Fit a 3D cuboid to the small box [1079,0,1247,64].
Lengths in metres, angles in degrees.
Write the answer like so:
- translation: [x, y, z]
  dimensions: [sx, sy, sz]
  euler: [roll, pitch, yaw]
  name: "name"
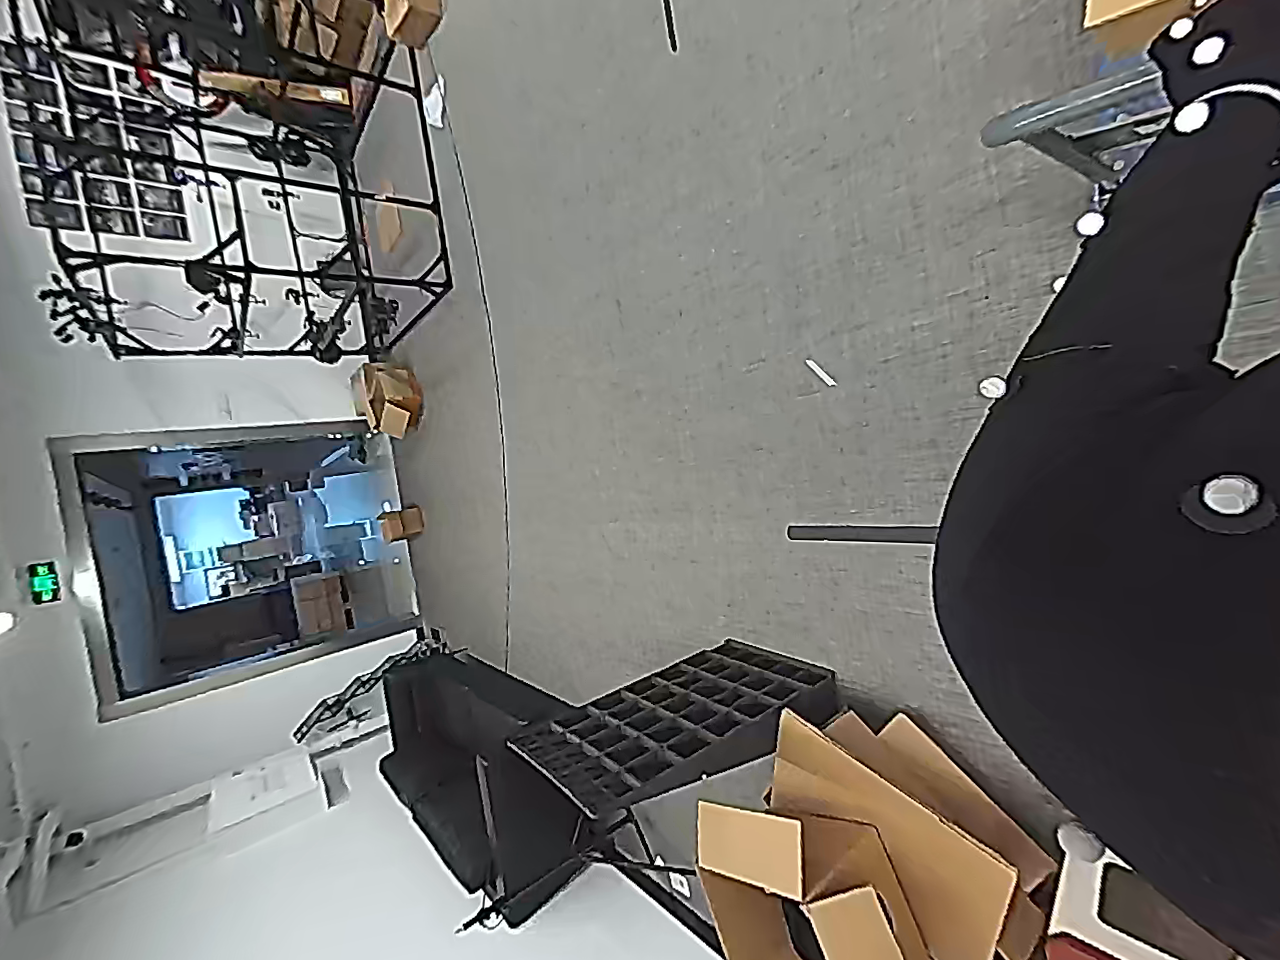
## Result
- translation: [0.832, -0.802, 0.850]
  dimensions: [0.179, 0.176, 0.168]
  euler: [12, 107, 48]
  name: "small box"
